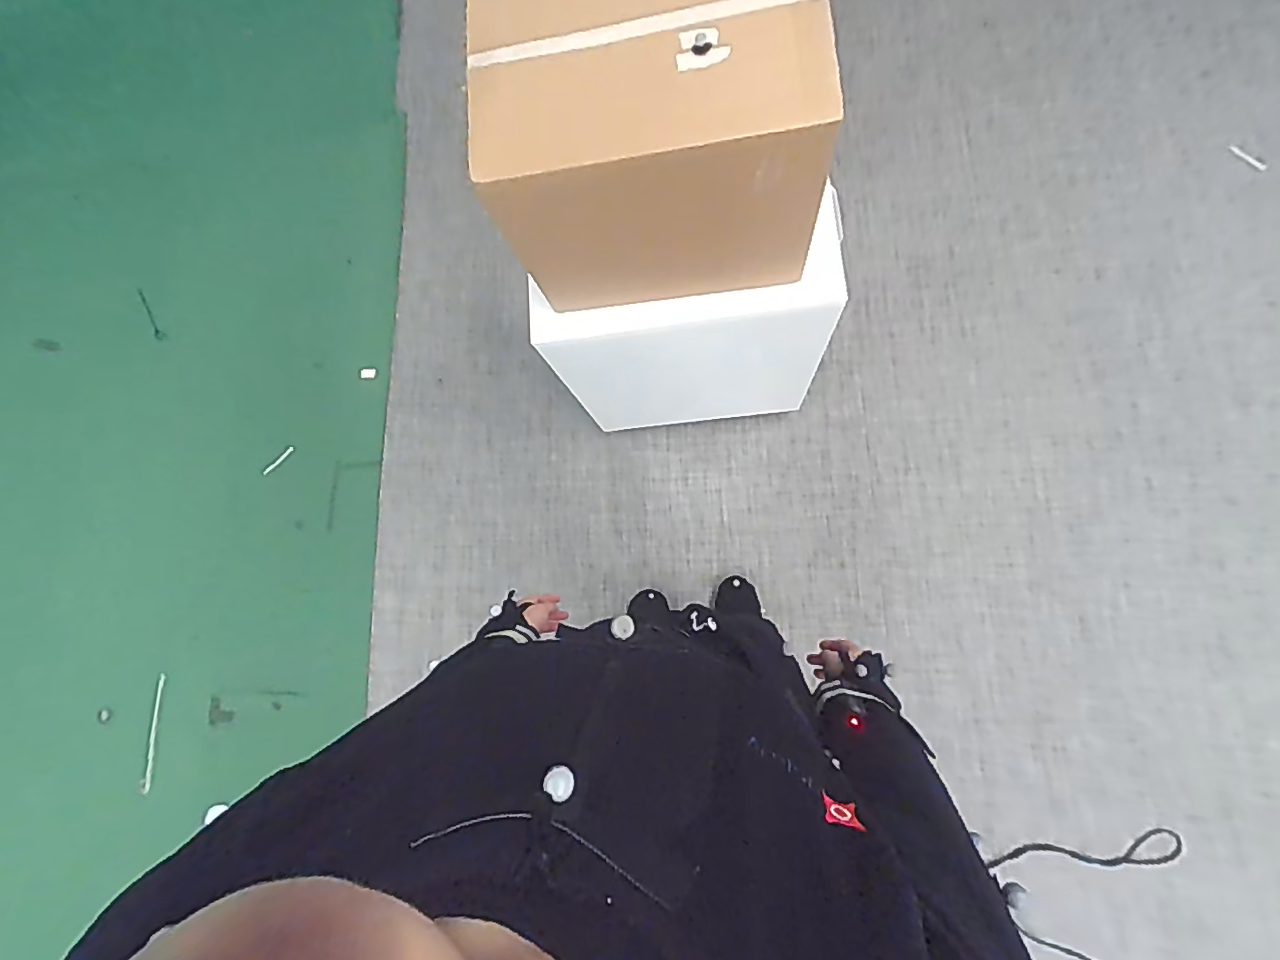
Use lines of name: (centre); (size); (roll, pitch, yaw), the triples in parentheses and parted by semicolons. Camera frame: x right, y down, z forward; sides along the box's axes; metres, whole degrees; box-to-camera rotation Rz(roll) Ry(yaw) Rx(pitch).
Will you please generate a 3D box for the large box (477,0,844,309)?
large box: (0.024, -0.474, 0.755); (0.408, 0.320, 0.320); (-5, 80, 6)
